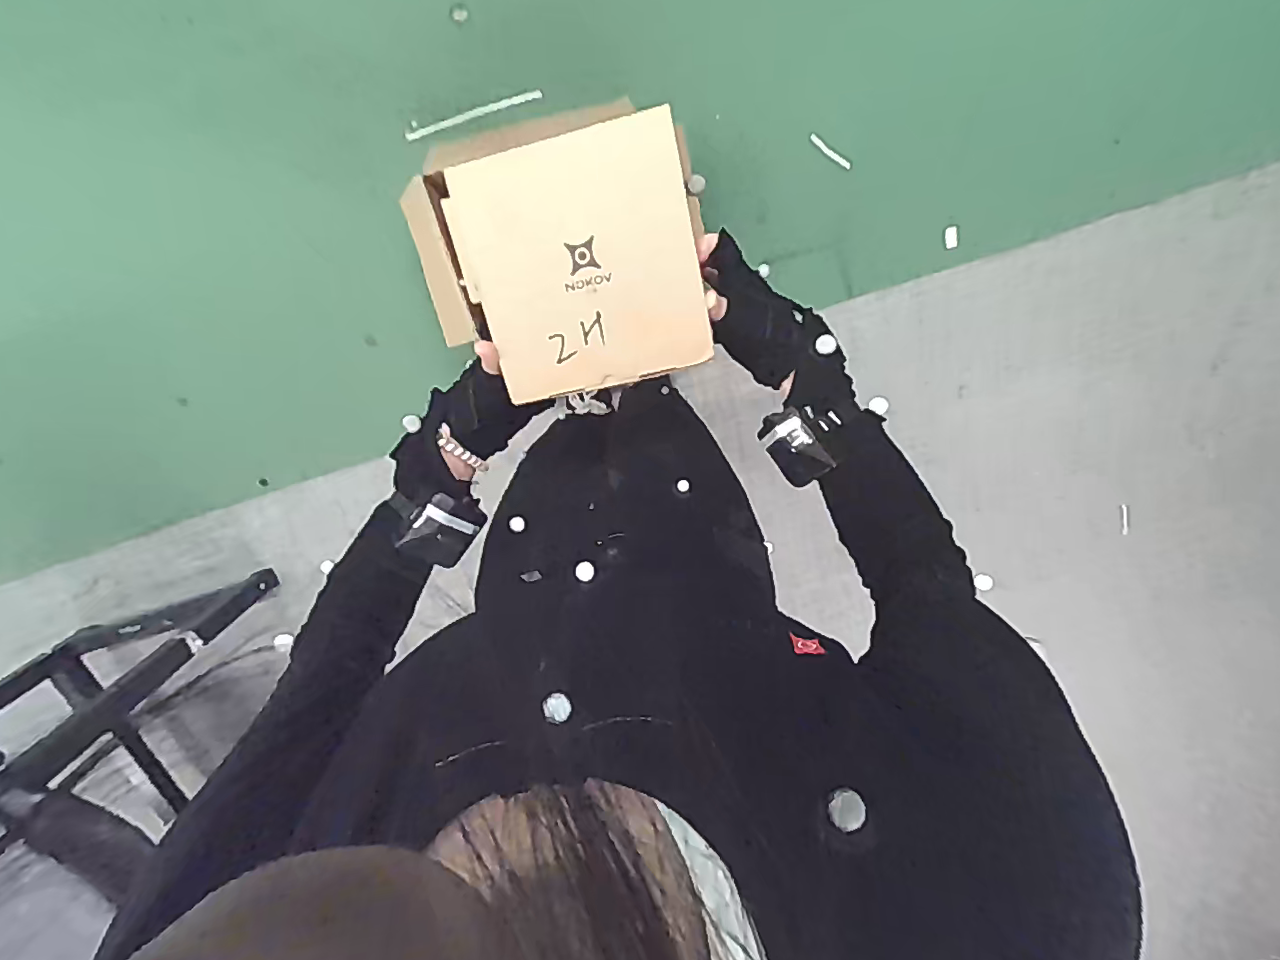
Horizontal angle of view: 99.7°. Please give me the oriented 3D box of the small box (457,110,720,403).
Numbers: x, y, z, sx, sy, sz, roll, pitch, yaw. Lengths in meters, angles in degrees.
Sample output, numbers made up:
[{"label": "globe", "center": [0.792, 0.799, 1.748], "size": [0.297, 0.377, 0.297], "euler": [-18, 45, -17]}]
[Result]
[{"label": "small box", "center": [-0.030, -0.178, 0.470], "size": [0.168, 0.176, 0.179], "euler": [-10, 107, 7]}]
